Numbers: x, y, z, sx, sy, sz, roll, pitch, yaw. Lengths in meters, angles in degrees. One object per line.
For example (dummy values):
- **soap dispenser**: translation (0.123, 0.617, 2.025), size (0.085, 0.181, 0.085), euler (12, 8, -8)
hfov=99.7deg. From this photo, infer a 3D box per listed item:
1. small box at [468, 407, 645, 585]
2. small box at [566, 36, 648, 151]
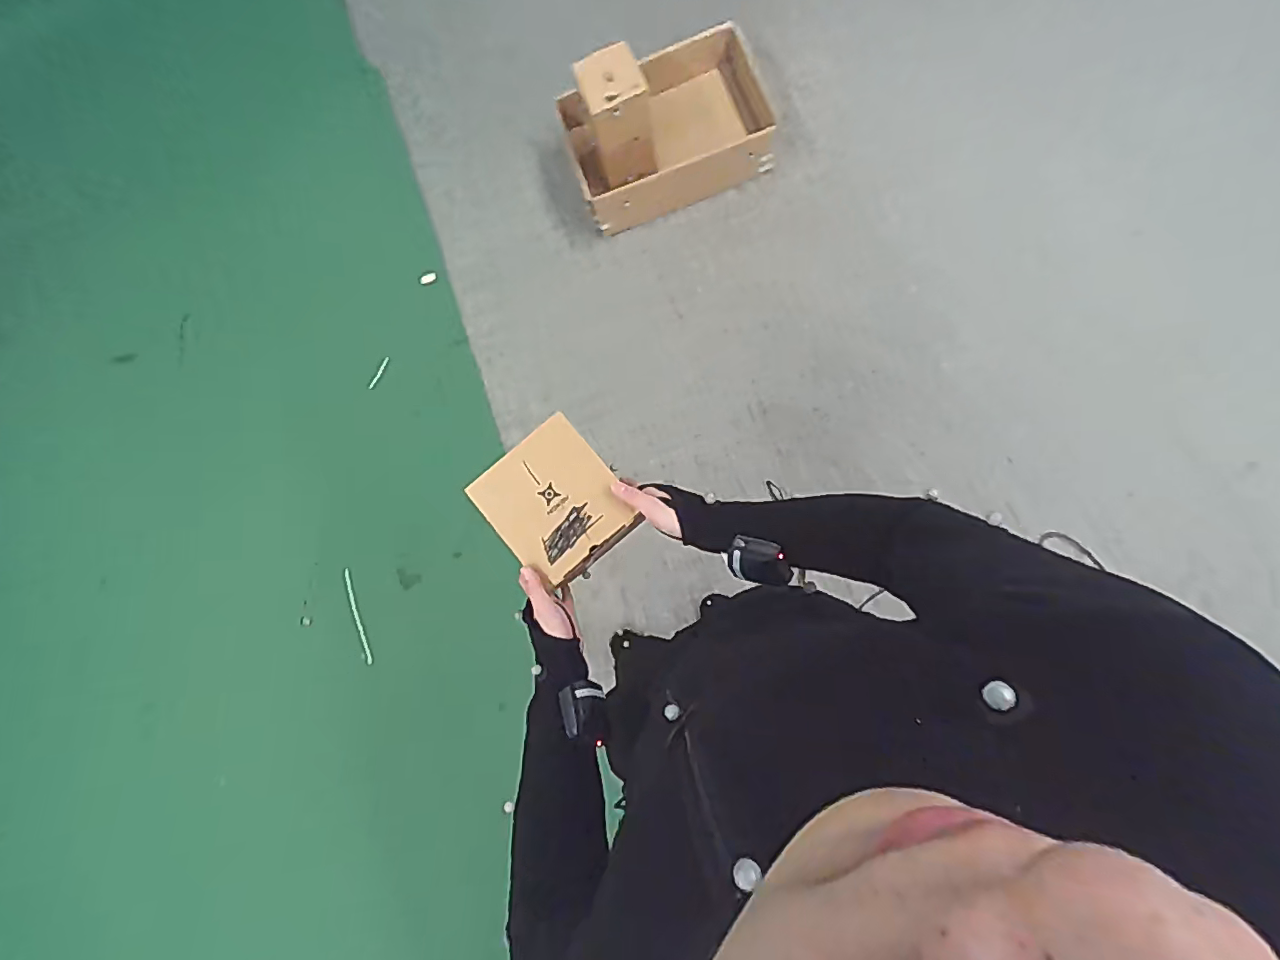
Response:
- **small box**: translation (-0.105, 0.026, 0.775), size (0.168, 0.176, 0.179), euler (-39, 83, -1)
- **small box**: translation (-0.089, -1.092, 1.542), size (0.168, 0.176, 0.179), euler (-23, 80, 5)
